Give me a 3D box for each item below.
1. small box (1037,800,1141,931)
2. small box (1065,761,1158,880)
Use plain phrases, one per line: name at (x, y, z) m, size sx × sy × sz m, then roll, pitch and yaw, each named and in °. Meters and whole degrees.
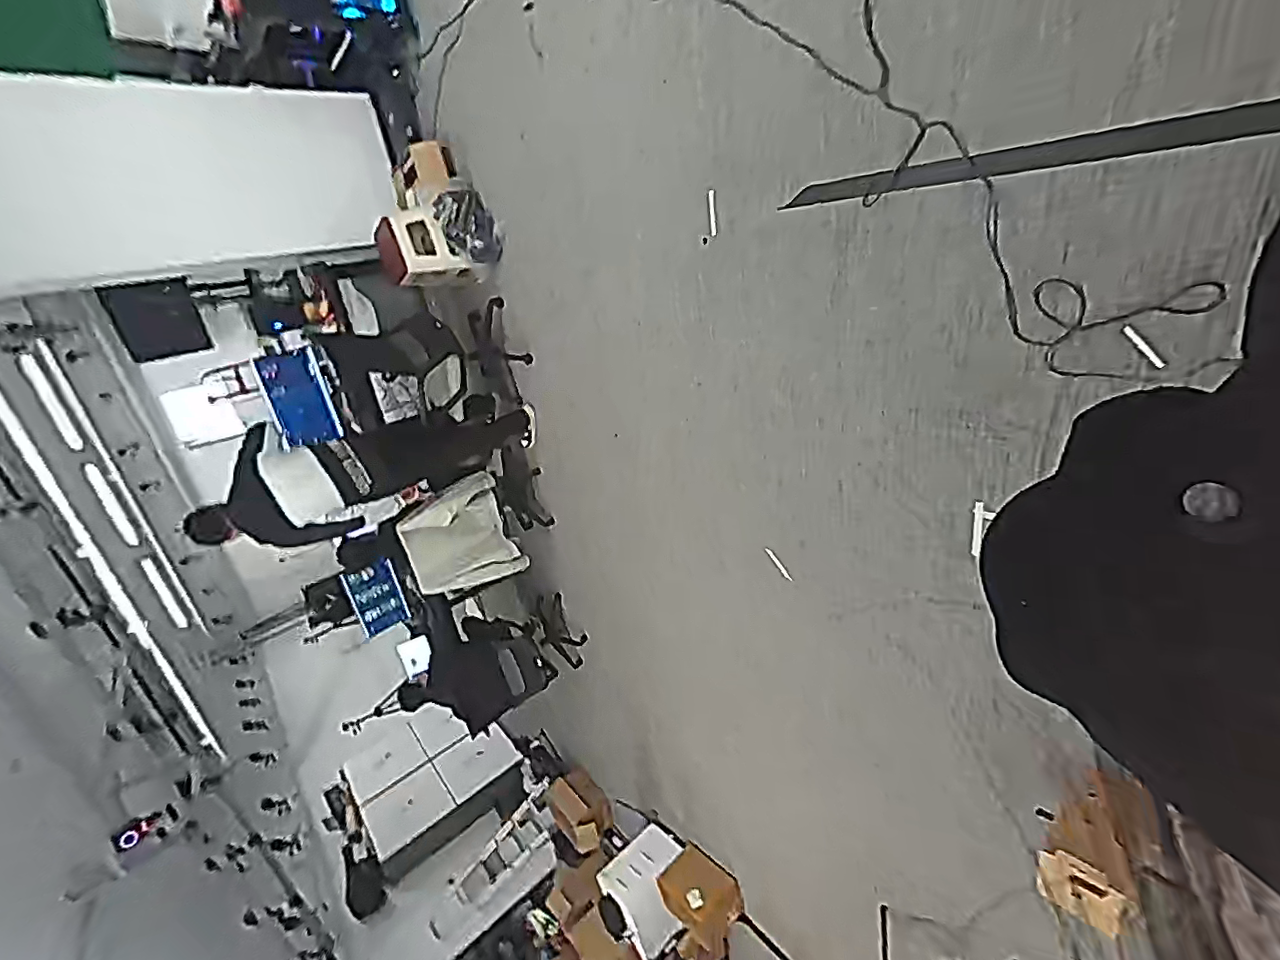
small box at (1.144, 0.971, 1.379) m, size 0.168 × 0.176 × 0.179 m, roll 15°, pitch 124°, yaw 49°
small box at (1.271, 0.912, 1.466) m, size 0.168 × 0.176 × 0.179 m, roll 14°, pitch 124°, yaw 50°
